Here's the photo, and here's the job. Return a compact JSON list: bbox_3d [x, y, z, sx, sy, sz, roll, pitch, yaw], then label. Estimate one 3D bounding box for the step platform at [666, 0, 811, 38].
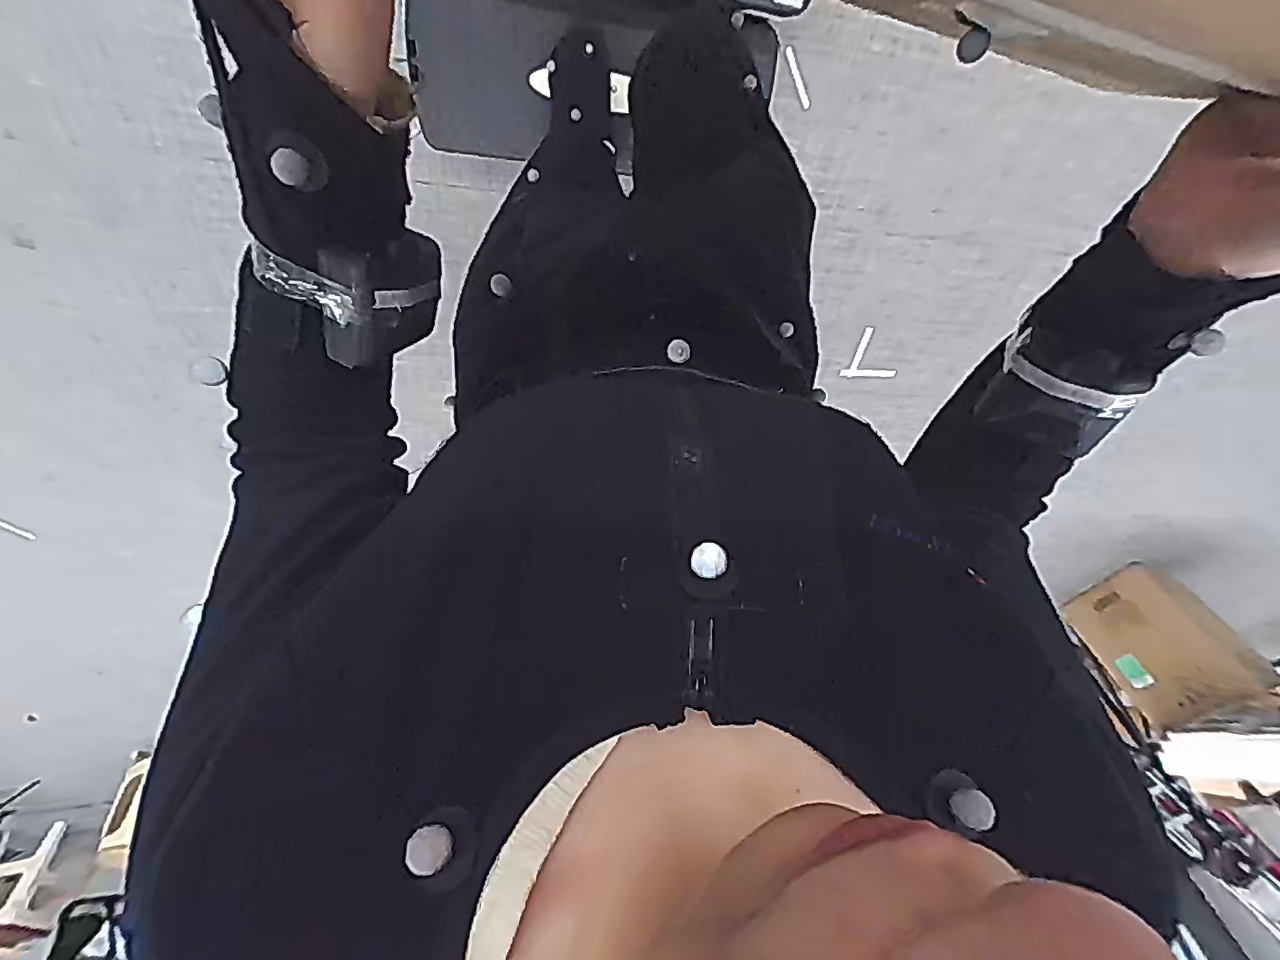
[{"bbox_3d":[-0.024,-0.927,0.802,0.684,0.204,0.286,5,132,-15],"label":"step platform"}]
